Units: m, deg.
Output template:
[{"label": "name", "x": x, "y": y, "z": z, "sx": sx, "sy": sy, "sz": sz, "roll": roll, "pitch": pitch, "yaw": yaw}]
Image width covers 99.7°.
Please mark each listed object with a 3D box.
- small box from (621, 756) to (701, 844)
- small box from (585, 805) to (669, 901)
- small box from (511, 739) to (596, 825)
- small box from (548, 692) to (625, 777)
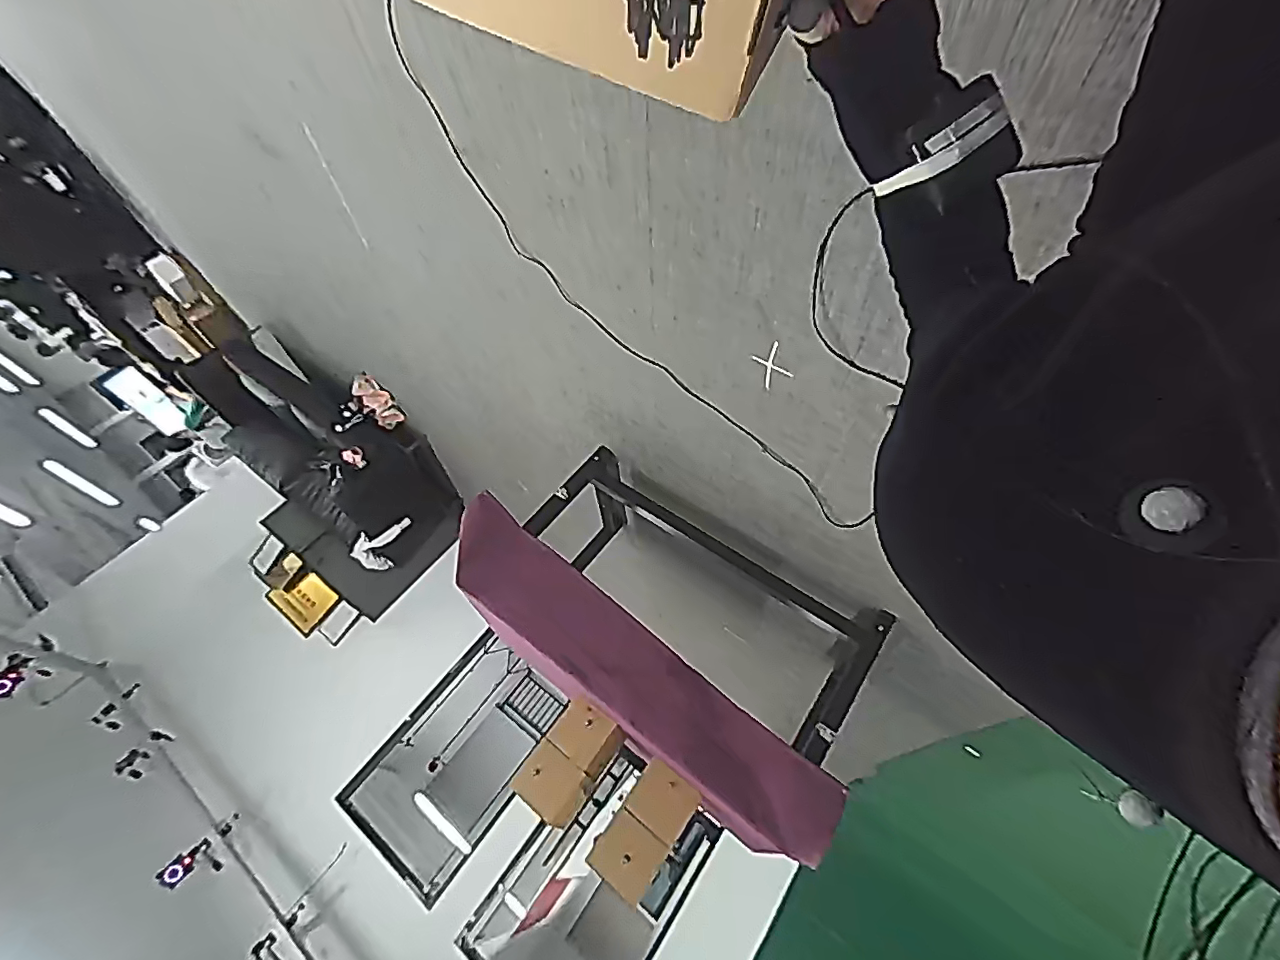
[{"label": "small box", "x": 0.067, "y": 0.969, "z": 1.649, "sx": 0.179, "sy": 0.176, "sz": 0.168, "roll": 31, "pitch": 153, "yaw": 24}, {"label": "small box", "x": -0.033, "y": 1.079, "z": 1.580, "sx": 0.179, "sy": 0.176, "sz": 0.168, "roll": 30, "pitch": 152, "yaw": 23}, {"label": "small box", "x": -0.266, "y": 0.939, "z": 1.697, "sx": 0.179, "sy": 0.176, "sz": 0.168, "roll": 28, "pitch": 153, "yaw": 27}, {"label": "small box", "x": -0.168, "y": 0.830, "z": 1.770, "sx": 0.168, "sy": 0.176, "sz": 0.179, "roll": 27, "pitch": 150, "yaw": 28}]
